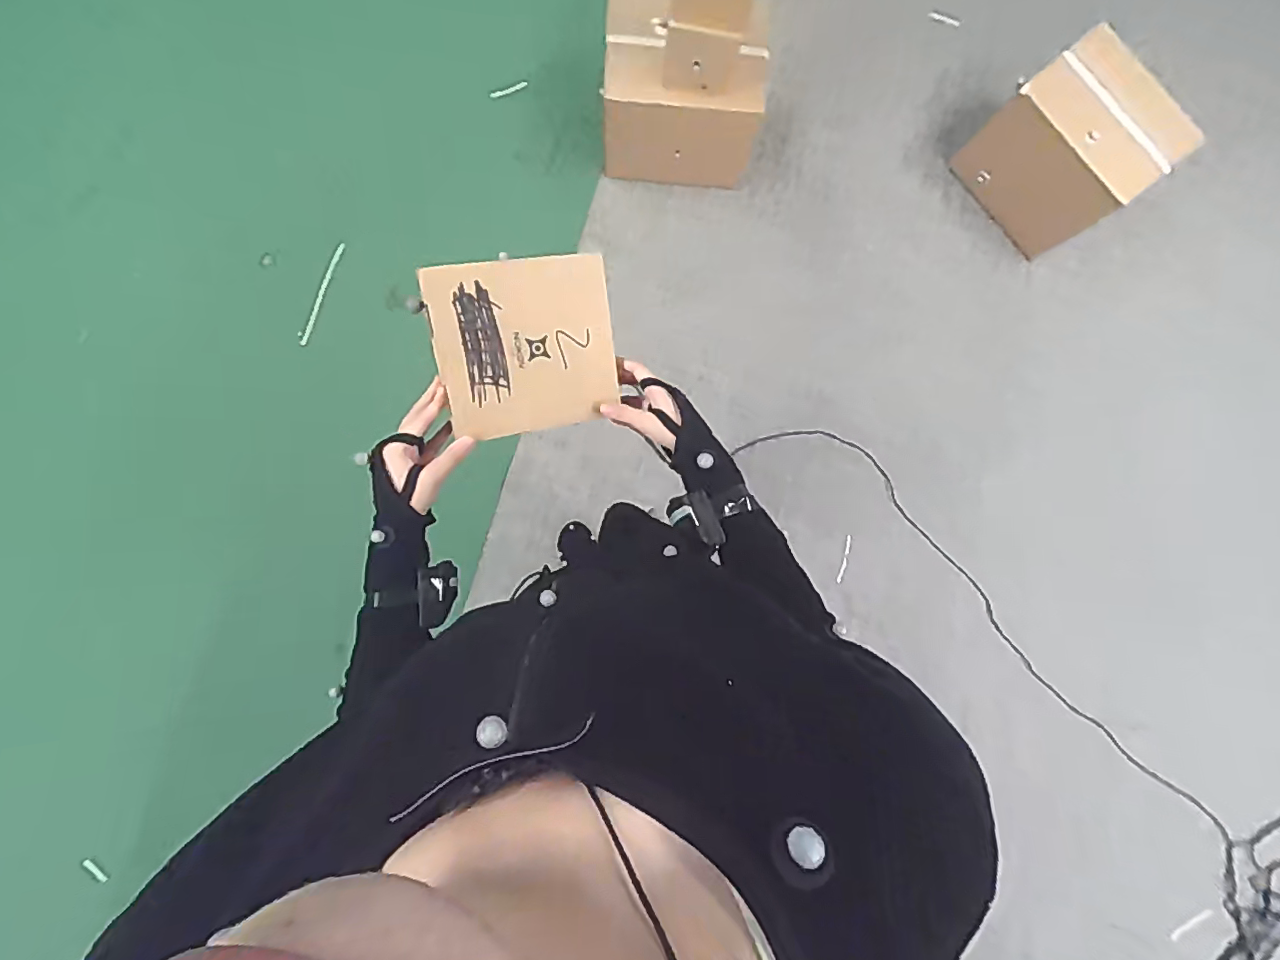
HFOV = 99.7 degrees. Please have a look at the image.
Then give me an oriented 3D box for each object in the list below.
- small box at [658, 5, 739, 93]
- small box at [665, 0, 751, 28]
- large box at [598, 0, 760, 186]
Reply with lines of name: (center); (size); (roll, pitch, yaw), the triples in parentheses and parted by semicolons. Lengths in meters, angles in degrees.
small box: (0.136, -1.035, 1.234); (0.168, 0.176, 0.179); (8, 85, -4)
small box: (0.152, -1.053, 1.073); (0.179, 0.176, 0.168); (9, 85, -4)
large box: (0.096, -1.048, 1.480); (0.408, 0.320, 0.320); (2, 84, -2)
